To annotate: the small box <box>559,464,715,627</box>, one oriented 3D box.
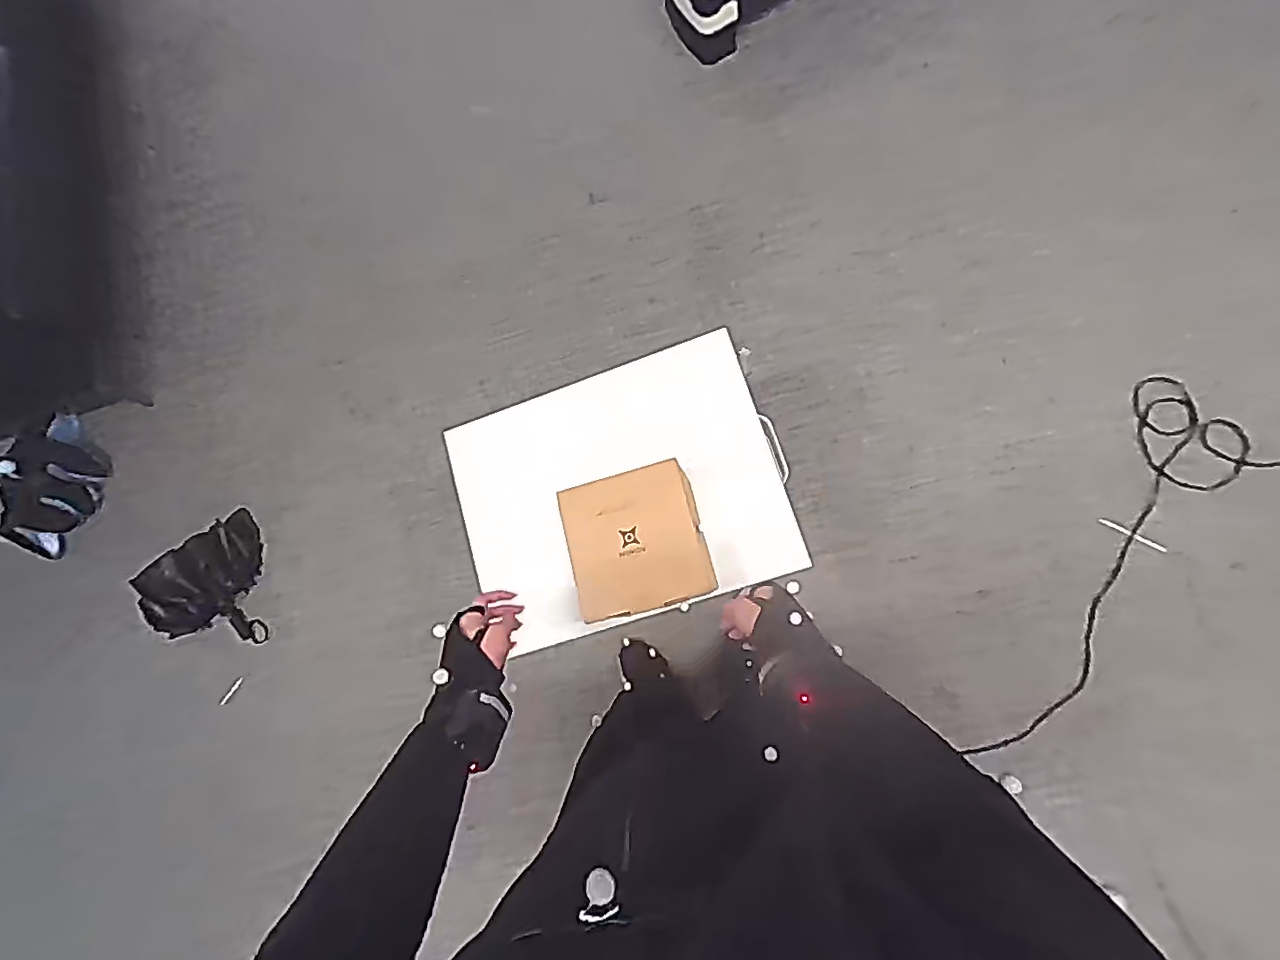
[{"bbox_3d":[0.005,0.095,0.759,0.168,0.176,0.179,-16,77,7],"label":"small box"}]
